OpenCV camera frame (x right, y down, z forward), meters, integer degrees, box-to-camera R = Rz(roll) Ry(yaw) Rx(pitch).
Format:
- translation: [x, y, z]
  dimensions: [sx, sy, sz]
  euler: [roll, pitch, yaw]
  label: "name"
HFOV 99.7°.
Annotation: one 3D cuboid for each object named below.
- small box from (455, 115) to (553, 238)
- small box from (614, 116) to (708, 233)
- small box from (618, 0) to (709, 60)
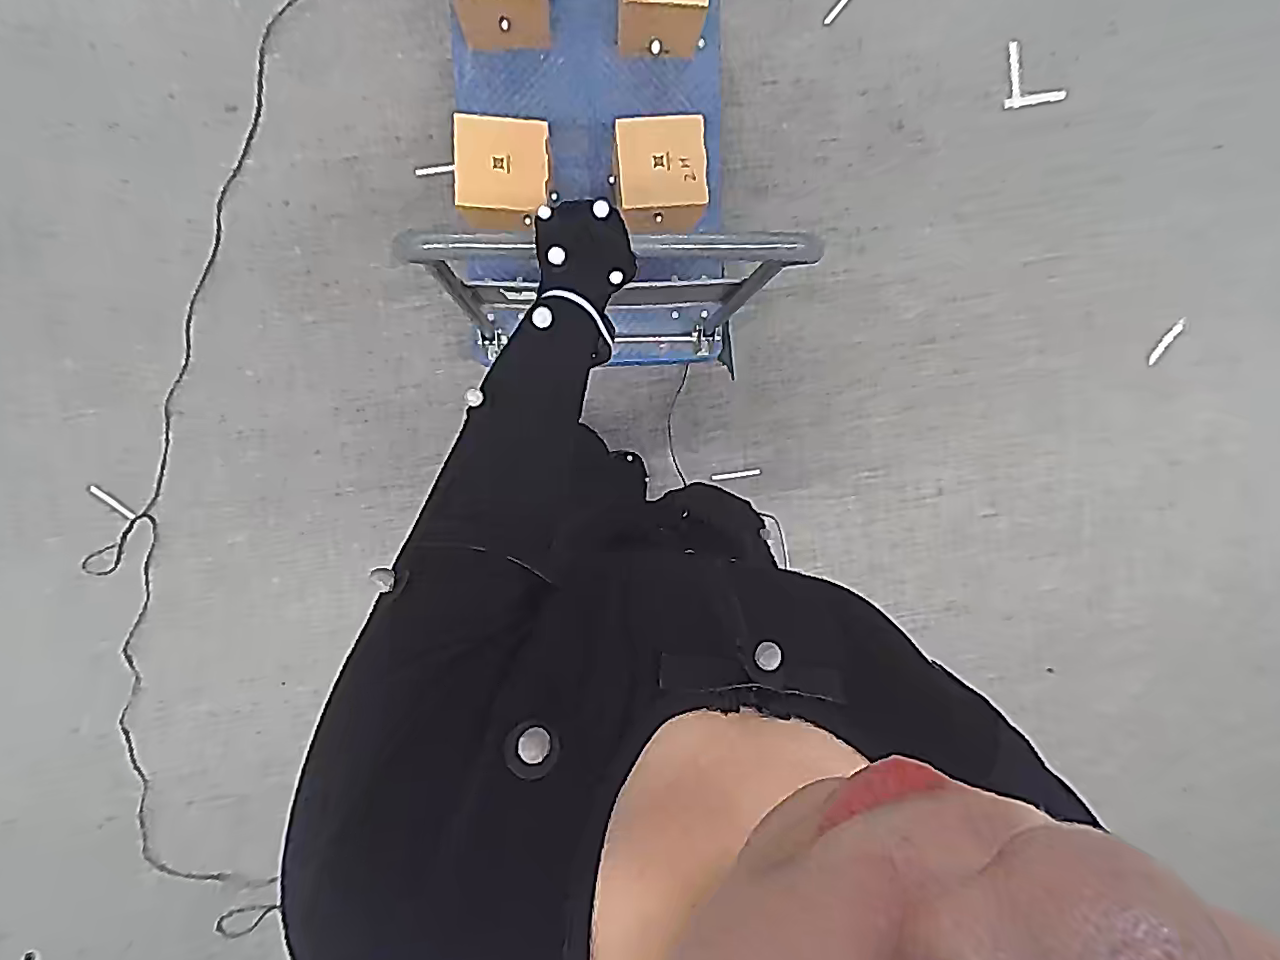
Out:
- translation: [-0.271, -0.609, 1.106]
  dimensions: [0.179, 0.176, 0.168]
  euler: [0, 97, -7]
  label: "small box"
- translation: [0.037, -0.629, 1.132]
  dimensions: [0.179, 0.176, 0.168]
  euler: [-6, 98, -5]
  label: "small box"
- translation: [0.042, -0.992, 1.083]
  dimensions: [0.168, 0.176, 0.179]
  euler: [-1, 99, -5]
  label: "small box"
